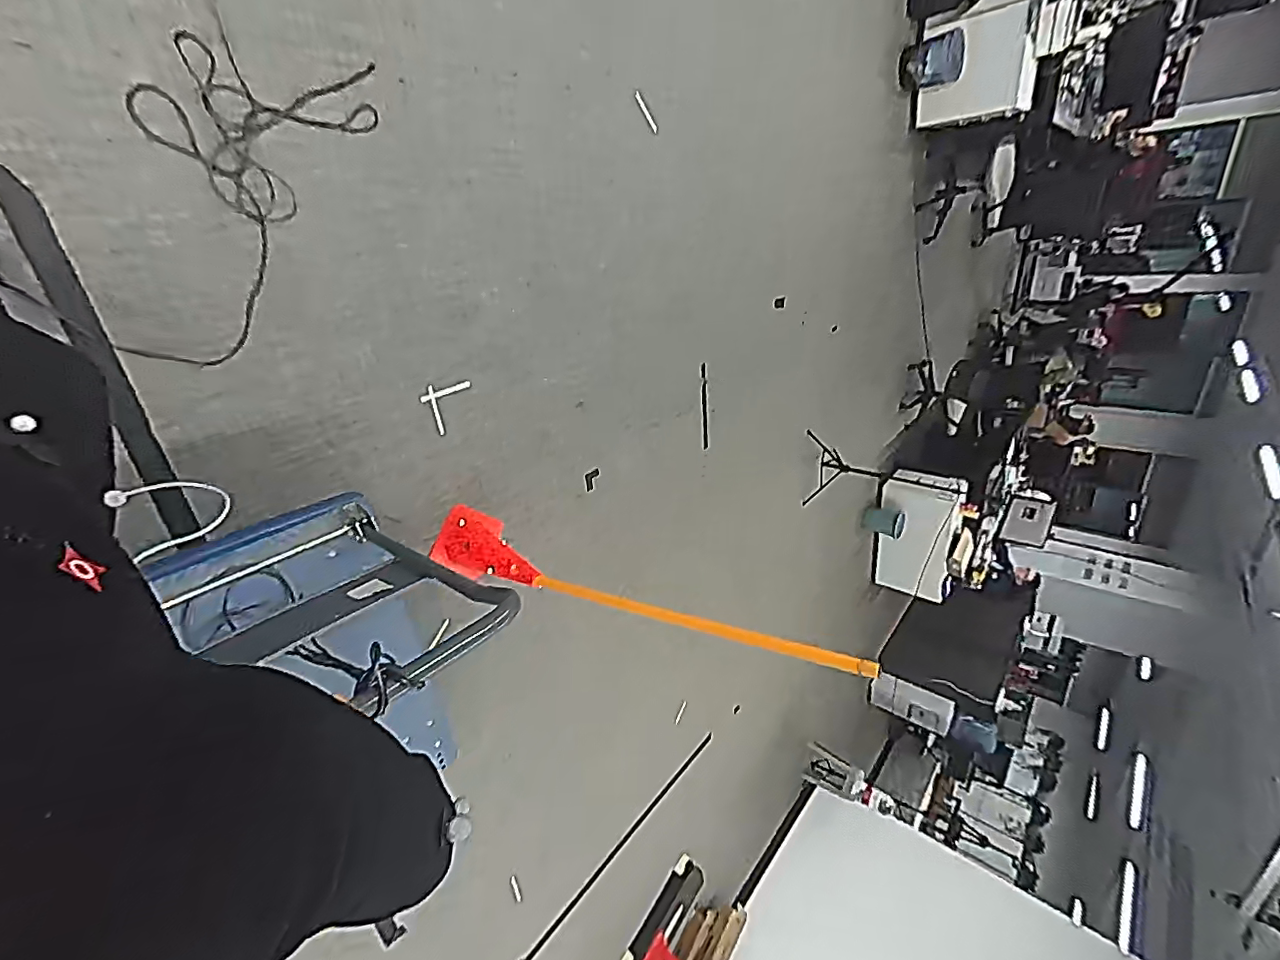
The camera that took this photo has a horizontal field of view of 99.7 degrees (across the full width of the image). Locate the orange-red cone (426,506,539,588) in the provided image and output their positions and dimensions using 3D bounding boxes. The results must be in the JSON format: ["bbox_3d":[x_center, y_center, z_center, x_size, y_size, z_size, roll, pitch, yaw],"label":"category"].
[{"bbox_3d":[-0.405,0.231,1.525,0.198,0.360,0.199,35,76,-48],"label":"orange-red cone"}]
